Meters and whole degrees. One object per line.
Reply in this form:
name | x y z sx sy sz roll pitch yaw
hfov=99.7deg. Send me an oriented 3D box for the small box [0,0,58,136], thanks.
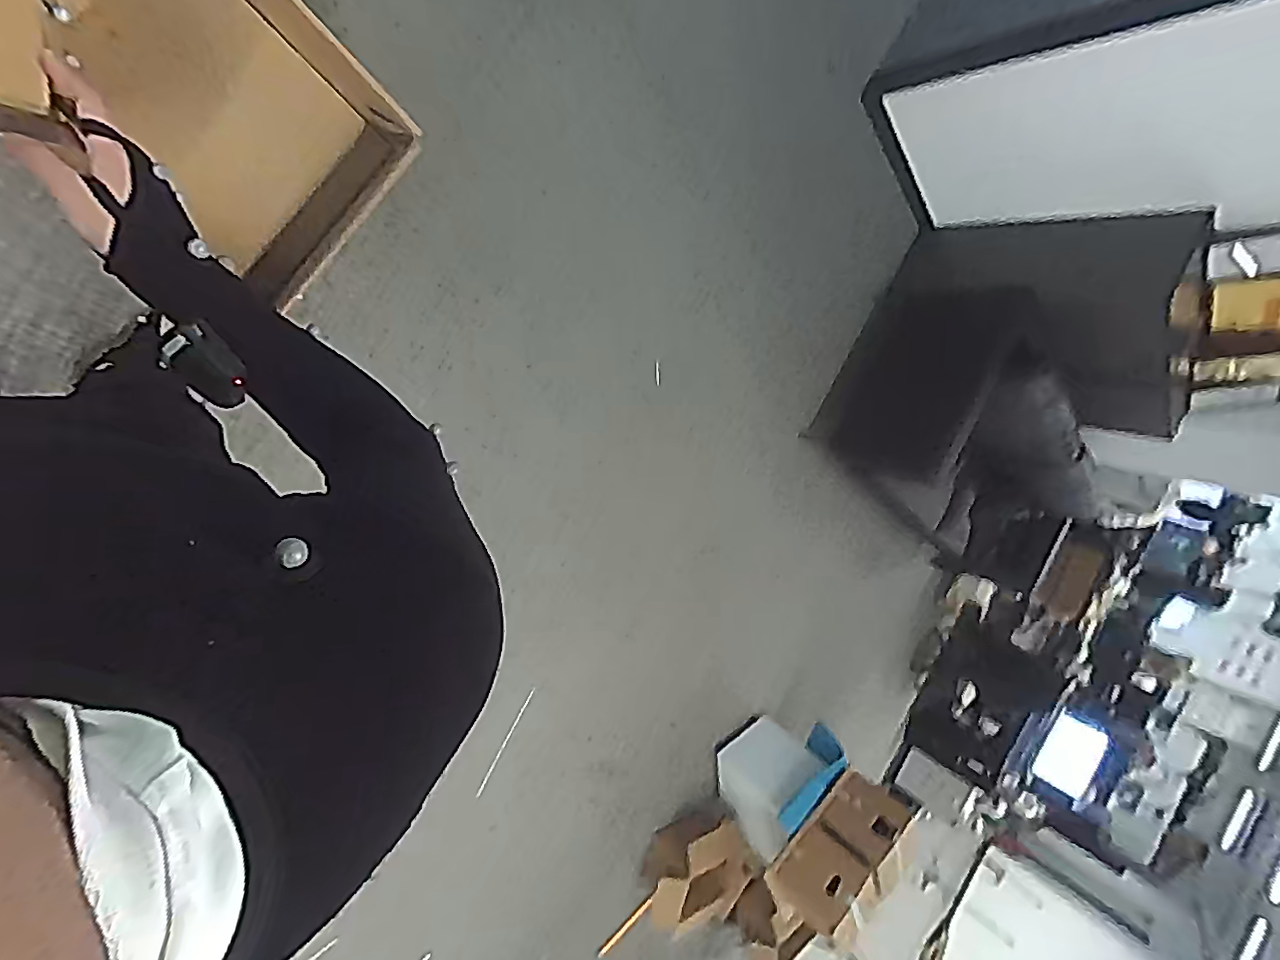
small box | -0.569 -0.384 0.401 0.168 0.176 0.179 -5 110 -41
